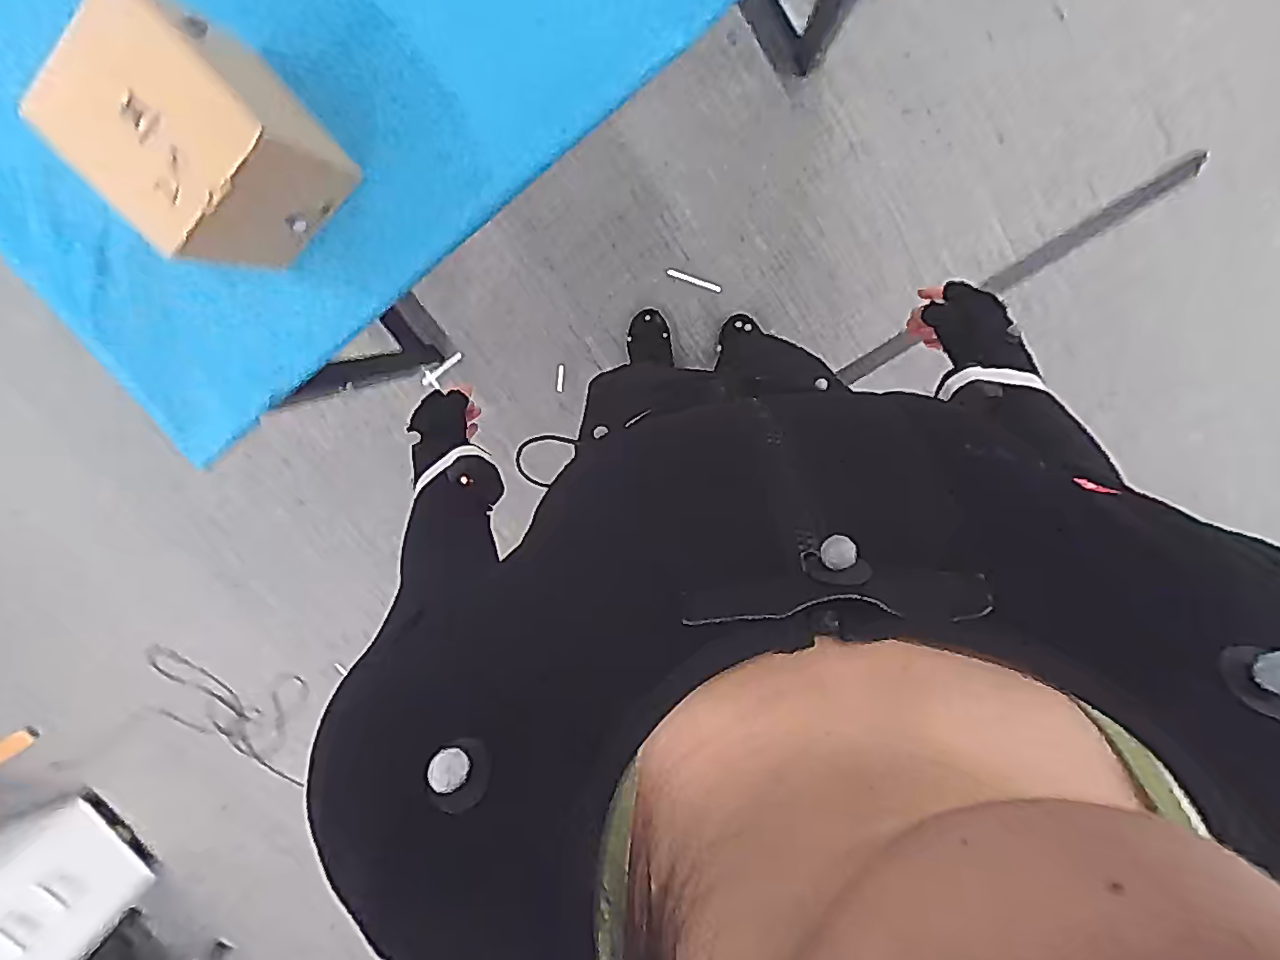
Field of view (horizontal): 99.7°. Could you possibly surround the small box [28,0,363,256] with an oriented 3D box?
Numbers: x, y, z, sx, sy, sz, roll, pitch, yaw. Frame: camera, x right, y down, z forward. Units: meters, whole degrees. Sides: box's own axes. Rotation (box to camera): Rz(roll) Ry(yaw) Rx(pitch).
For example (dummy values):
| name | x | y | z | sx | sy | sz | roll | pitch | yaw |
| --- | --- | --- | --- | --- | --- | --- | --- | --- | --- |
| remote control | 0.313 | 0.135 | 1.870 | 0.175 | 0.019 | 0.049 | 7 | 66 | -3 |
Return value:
| name | x | y | z | sx | sy | sz | roll | pitch | yaw |
| --- | --- | --- | --- | --- | --- | --- | --- | --- | --- |
| small box | -0.448 | -0.362 | 0.577 | 0.168 | 0.176 | 0.179 | -34 | 105 | 14 |
